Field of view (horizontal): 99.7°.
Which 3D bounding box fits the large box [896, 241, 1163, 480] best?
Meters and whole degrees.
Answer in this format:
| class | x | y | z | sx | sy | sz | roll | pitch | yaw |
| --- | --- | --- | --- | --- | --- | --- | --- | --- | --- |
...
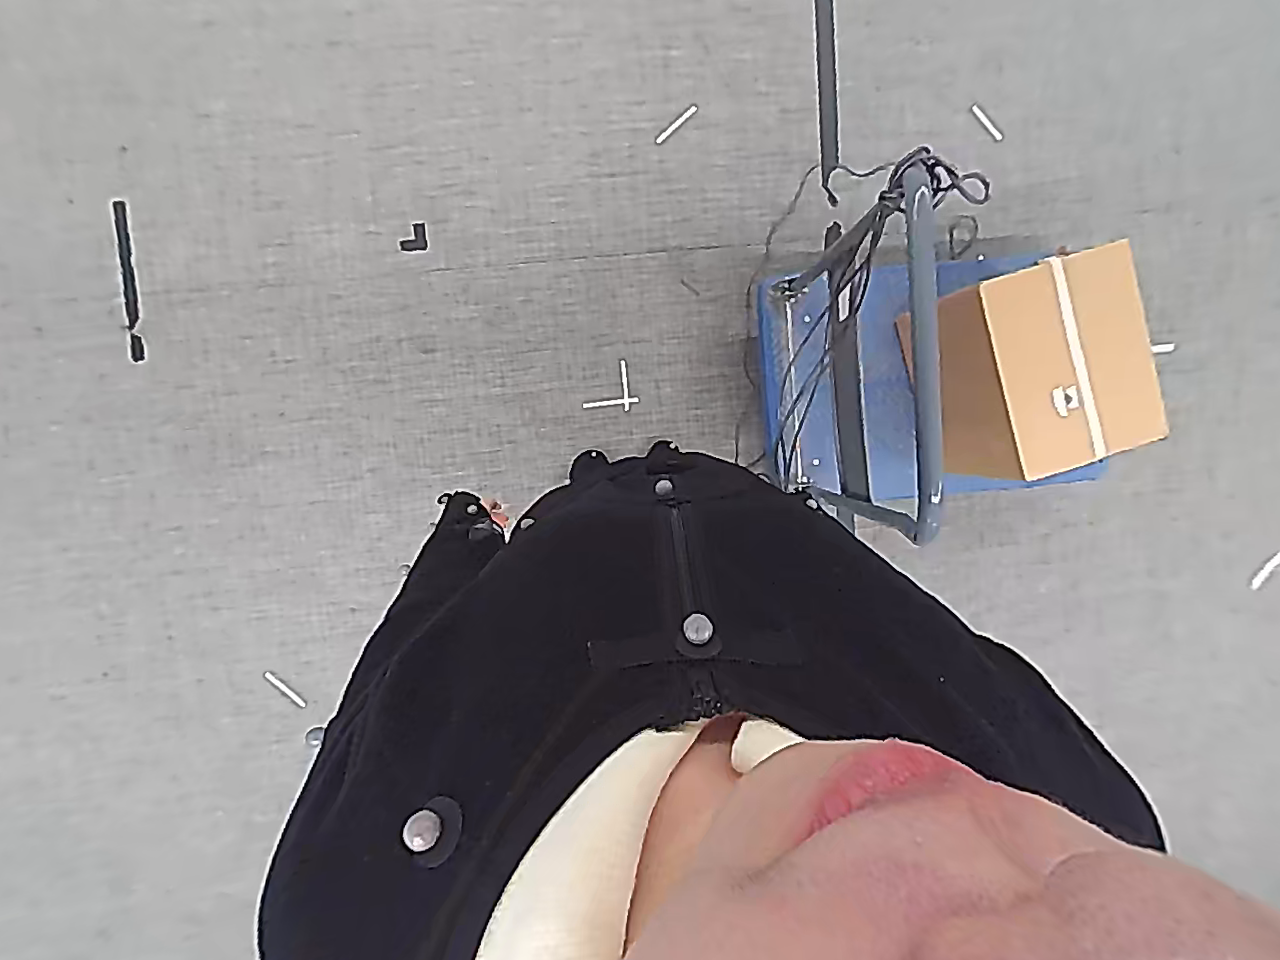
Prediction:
| class | x | y | z | sx | sy | sz | roll | pitch | yaw |
| --- | --- | --- | --- | --- | --- | --- | --- | --- | --- |
| large box | 0.835 | -0.245 | 1.204 | 0.320 | 0.320 | 0.408 | -17 | 96 | -1 |
